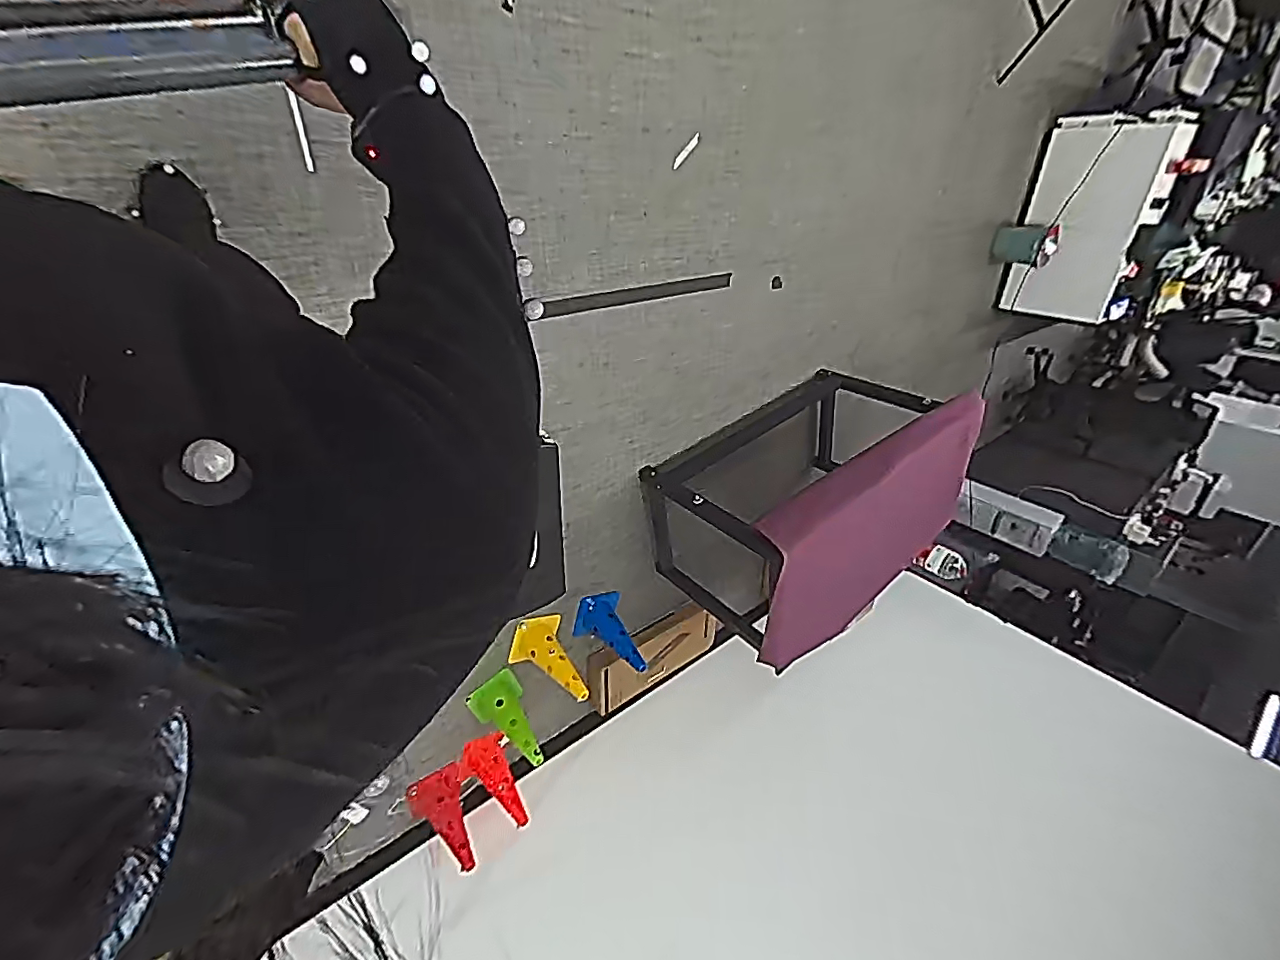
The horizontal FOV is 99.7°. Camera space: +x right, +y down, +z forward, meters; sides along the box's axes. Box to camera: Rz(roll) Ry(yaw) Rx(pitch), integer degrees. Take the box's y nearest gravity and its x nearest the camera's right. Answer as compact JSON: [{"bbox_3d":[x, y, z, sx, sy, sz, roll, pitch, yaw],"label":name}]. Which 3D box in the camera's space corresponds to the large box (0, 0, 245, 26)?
[{"bbox_3d":[-0.730,-0.725,0.601,0.408,0.320,0.320,-29,135,-27],"label":"large box"}]
